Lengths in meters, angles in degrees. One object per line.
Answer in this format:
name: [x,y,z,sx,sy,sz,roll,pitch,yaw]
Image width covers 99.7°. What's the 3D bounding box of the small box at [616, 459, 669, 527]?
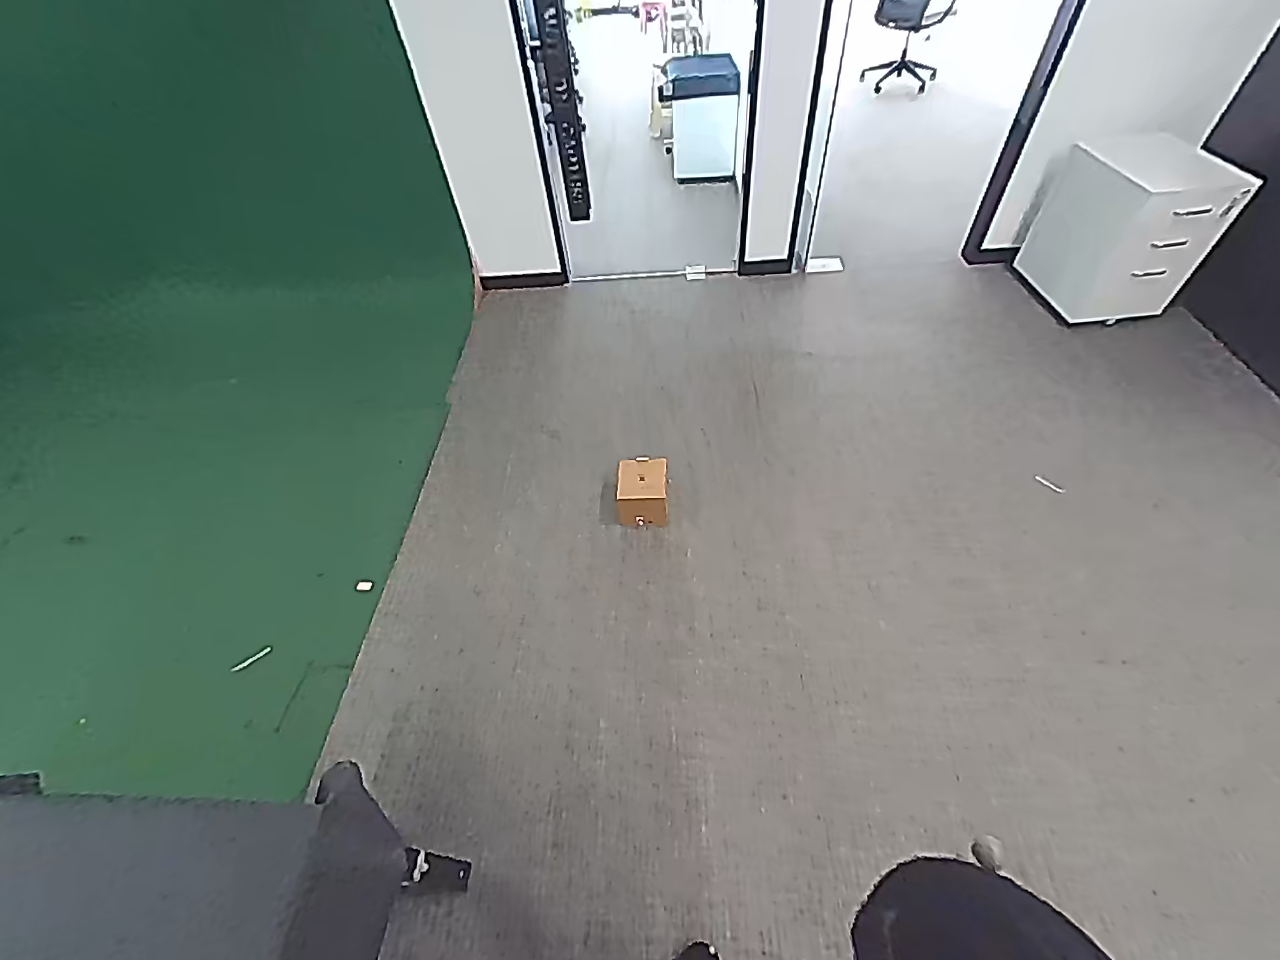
small box: [0.014,0.044,1.882,0.168,0.176,0.179,-1,50,7]
